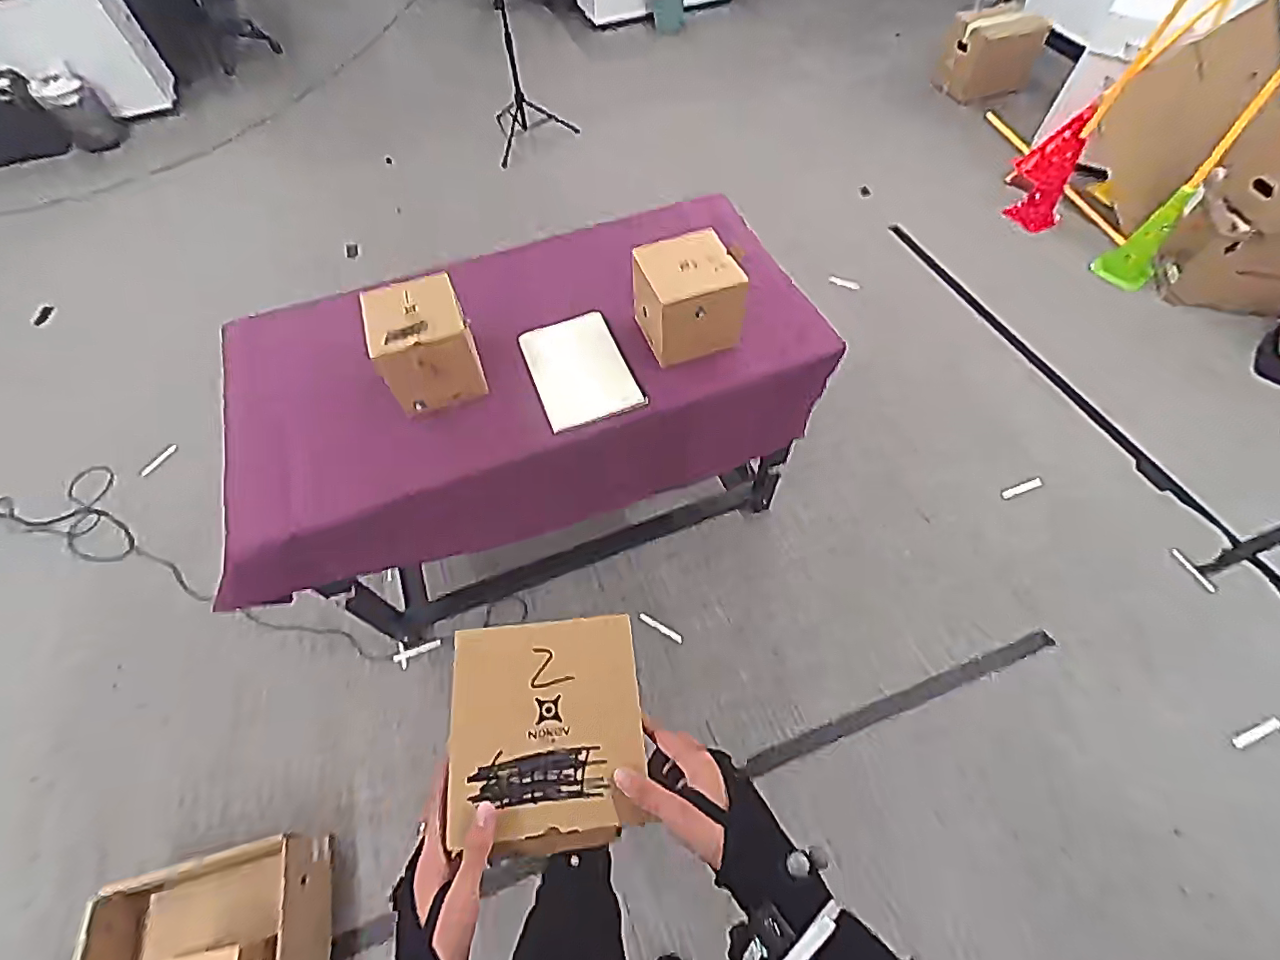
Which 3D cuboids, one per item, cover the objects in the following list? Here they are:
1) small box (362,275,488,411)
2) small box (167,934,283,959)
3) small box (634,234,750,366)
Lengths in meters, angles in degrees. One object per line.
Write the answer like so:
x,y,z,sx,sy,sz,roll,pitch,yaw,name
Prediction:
-0.404,-0.253,1.033,0.168,0.176,0.179,-18,59,-9,small box
-0.848,1.027,1.066,0.179,0.176,0.168,-7,59,-3,small box
0.098,-0.352,1.077,0.179,0.176,0.168,-17,60,-9,small box
